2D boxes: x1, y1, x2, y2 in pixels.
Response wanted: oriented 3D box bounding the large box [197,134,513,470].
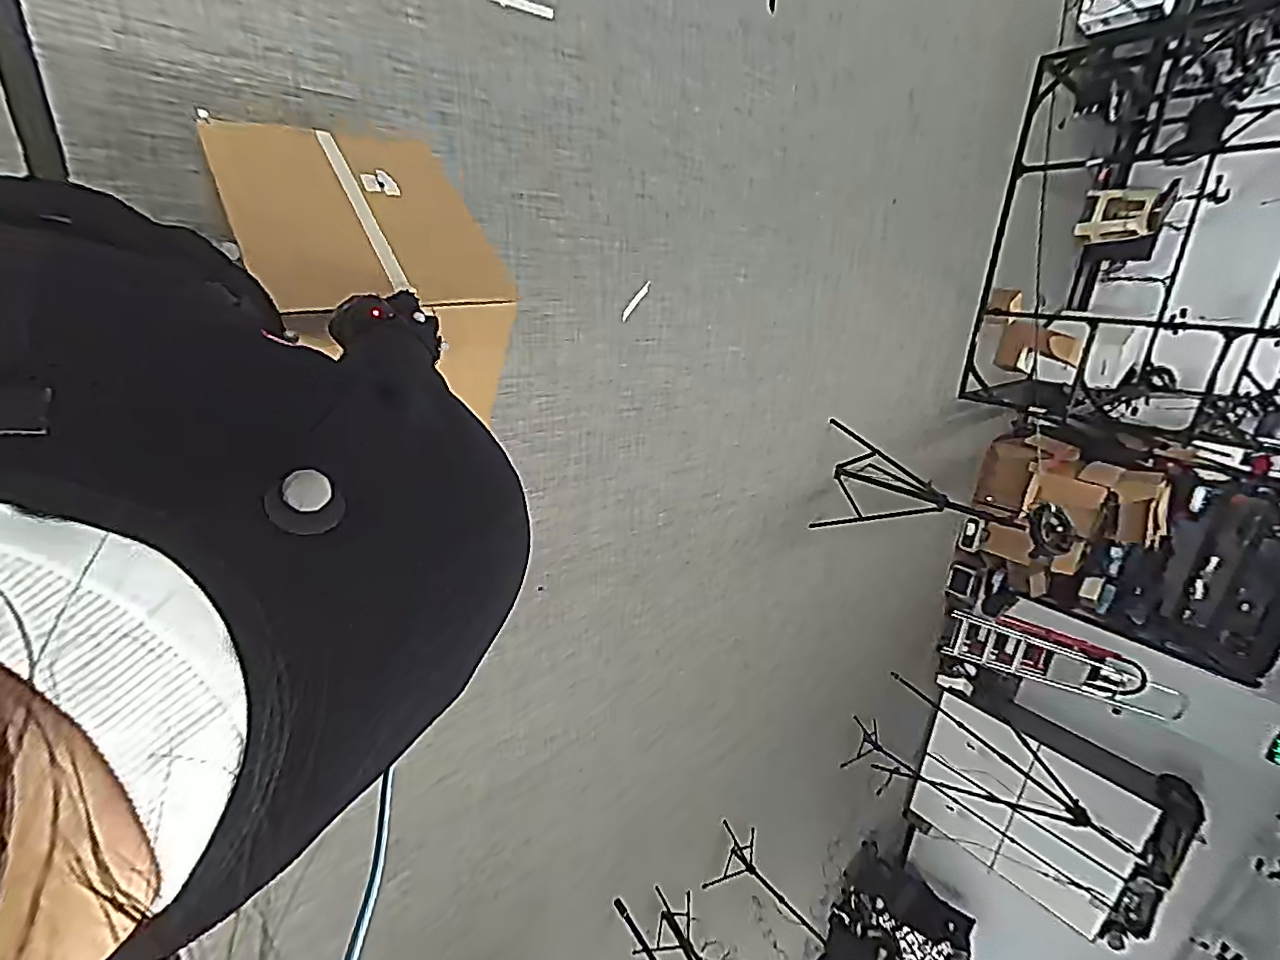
[{"bbox_3d":[-0.457,-0.285,0.886,0.320,0.408,0.320,-17,153,-36],"label":"large box"}]
